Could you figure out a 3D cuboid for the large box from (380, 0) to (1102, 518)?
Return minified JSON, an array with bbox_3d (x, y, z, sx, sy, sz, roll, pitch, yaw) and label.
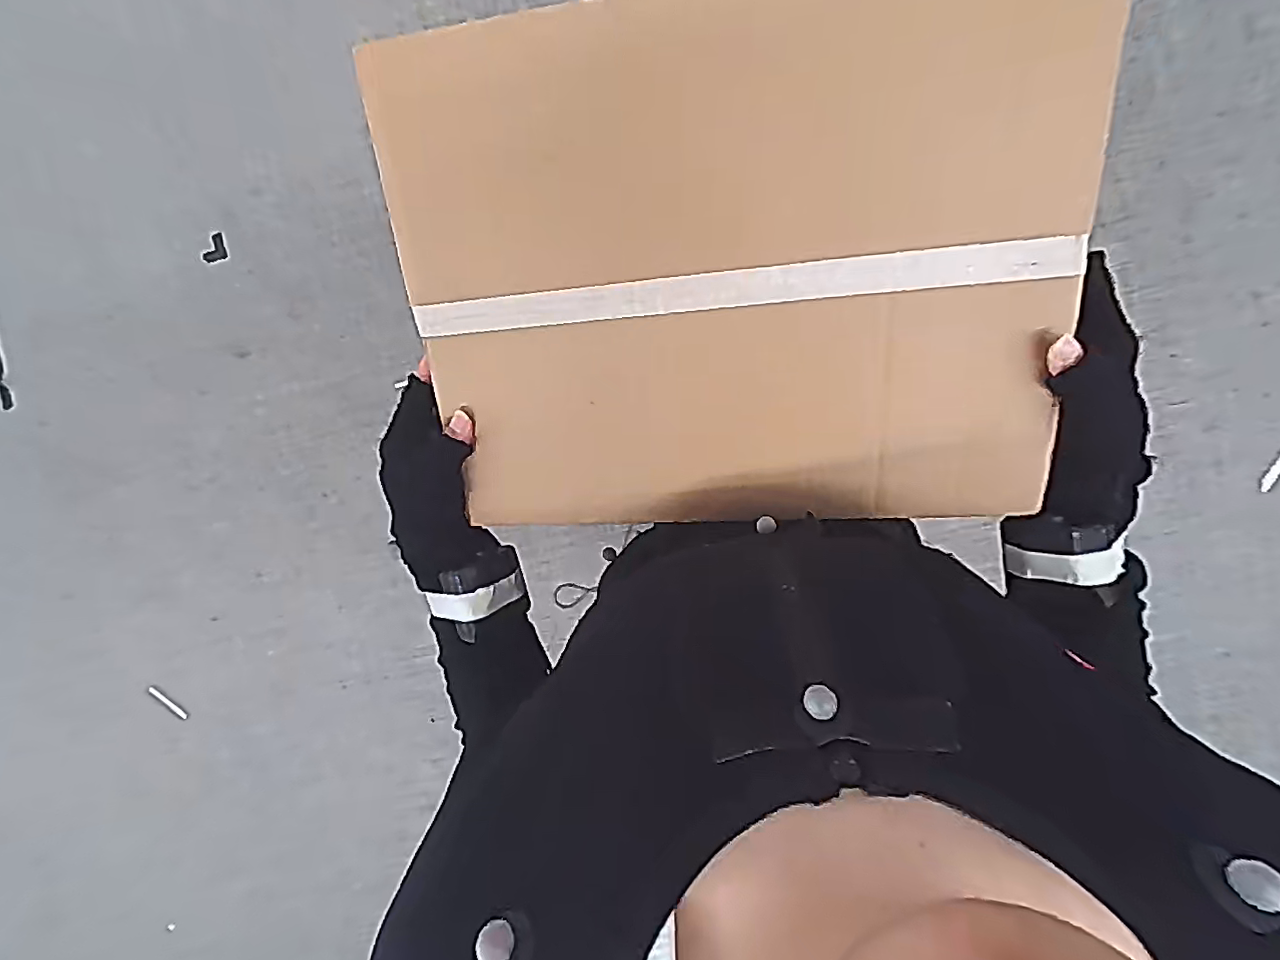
[{"bbox_3d":[0.070,-0.174,0.483,0.408,0.320,0.320,-2,112,11],"label":"large box"}]
